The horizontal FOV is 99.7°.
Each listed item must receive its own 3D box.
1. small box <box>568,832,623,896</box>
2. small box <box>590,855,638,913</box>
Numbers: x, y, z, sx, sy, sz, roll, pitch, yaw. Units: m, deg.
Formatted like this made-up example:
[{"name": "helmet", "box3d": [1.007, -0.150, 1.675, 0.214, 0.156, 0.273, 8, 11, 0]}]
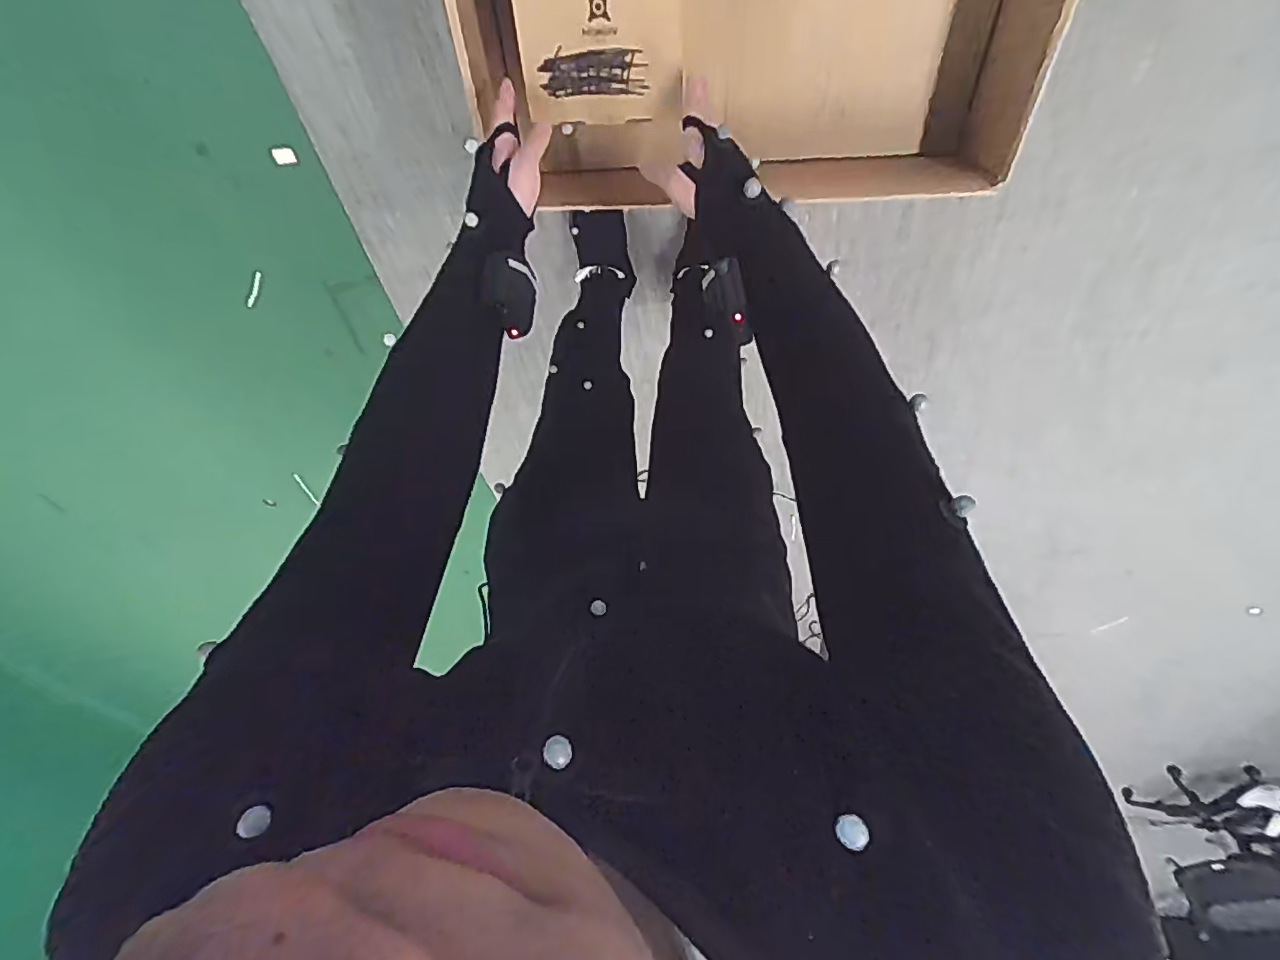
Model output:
[{"name": "small box", "box3d": [-0.159, 1.437, 2.020, 0.168, 0.176, 0.179, -5, 134, 8]}, {"name": "small box", "box3d": [-0.102, 1.668, 2.236, 0.168, 0.176, 0.179, -6, 131, 8]}]
